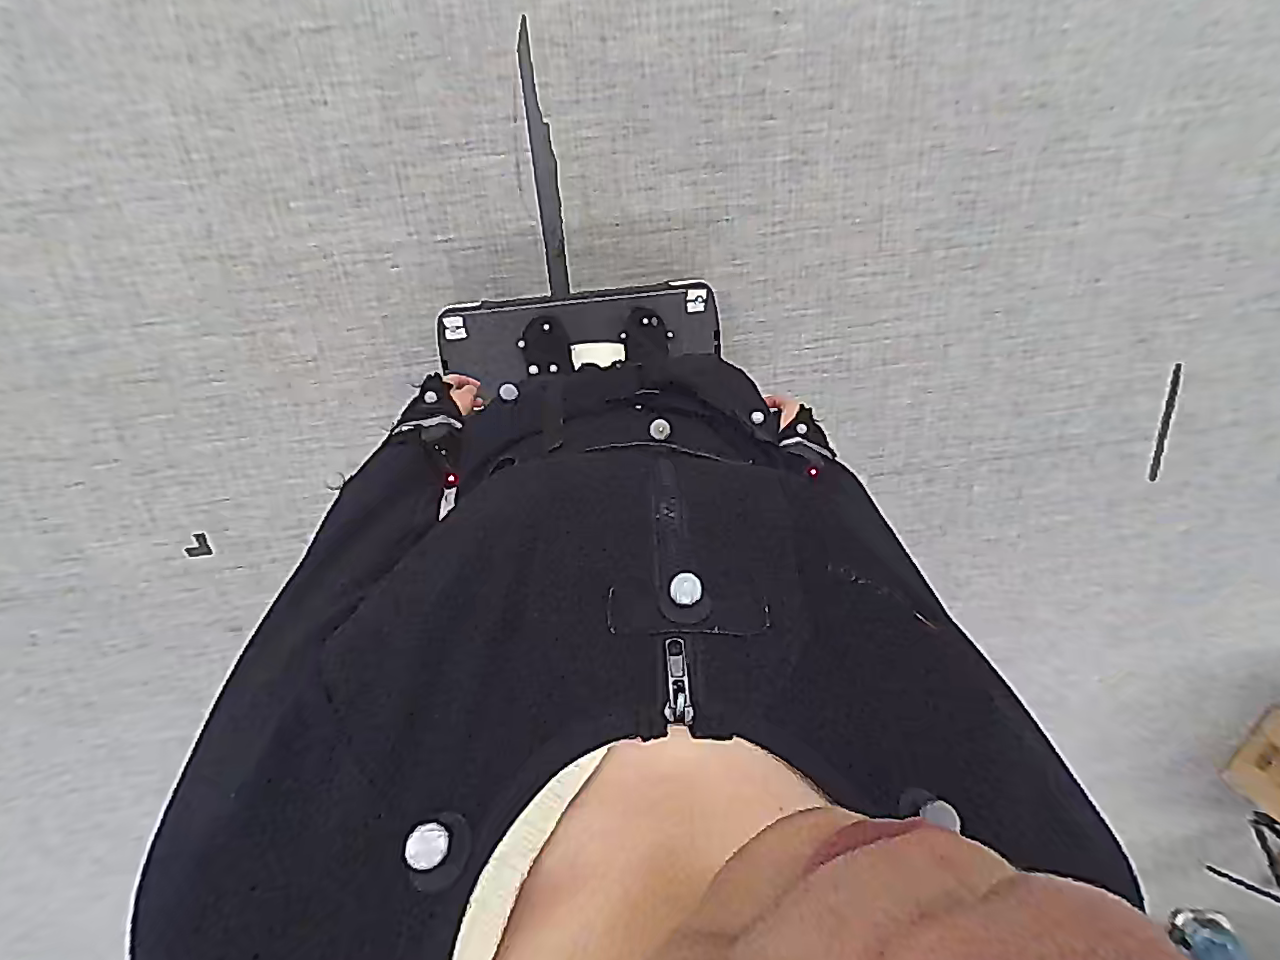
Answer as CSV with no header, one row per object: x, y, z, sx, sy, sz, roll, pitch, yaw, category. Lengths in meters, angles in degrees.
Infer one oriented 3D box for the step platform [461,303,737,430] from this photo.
-0.099,-0.293,1.381,0.684,0.204,0.286,-4,110,-5,step platform
